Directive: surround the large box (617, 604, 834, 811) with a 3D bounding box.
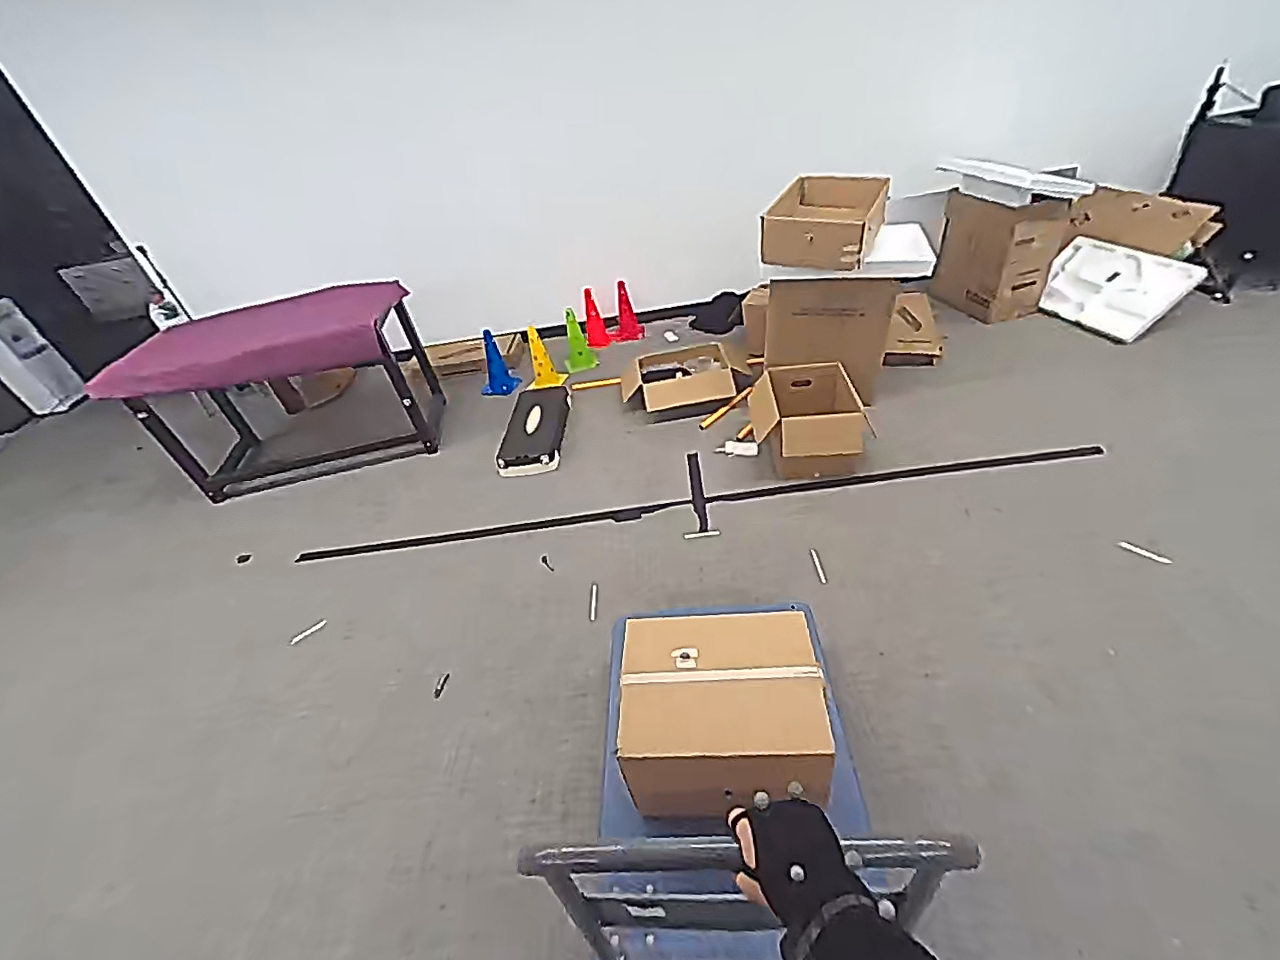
[{"bbox_3d":[0.183,0.507,1.197,0.408,0.320,0.320,-6,38,8],"label":"large box"}]
